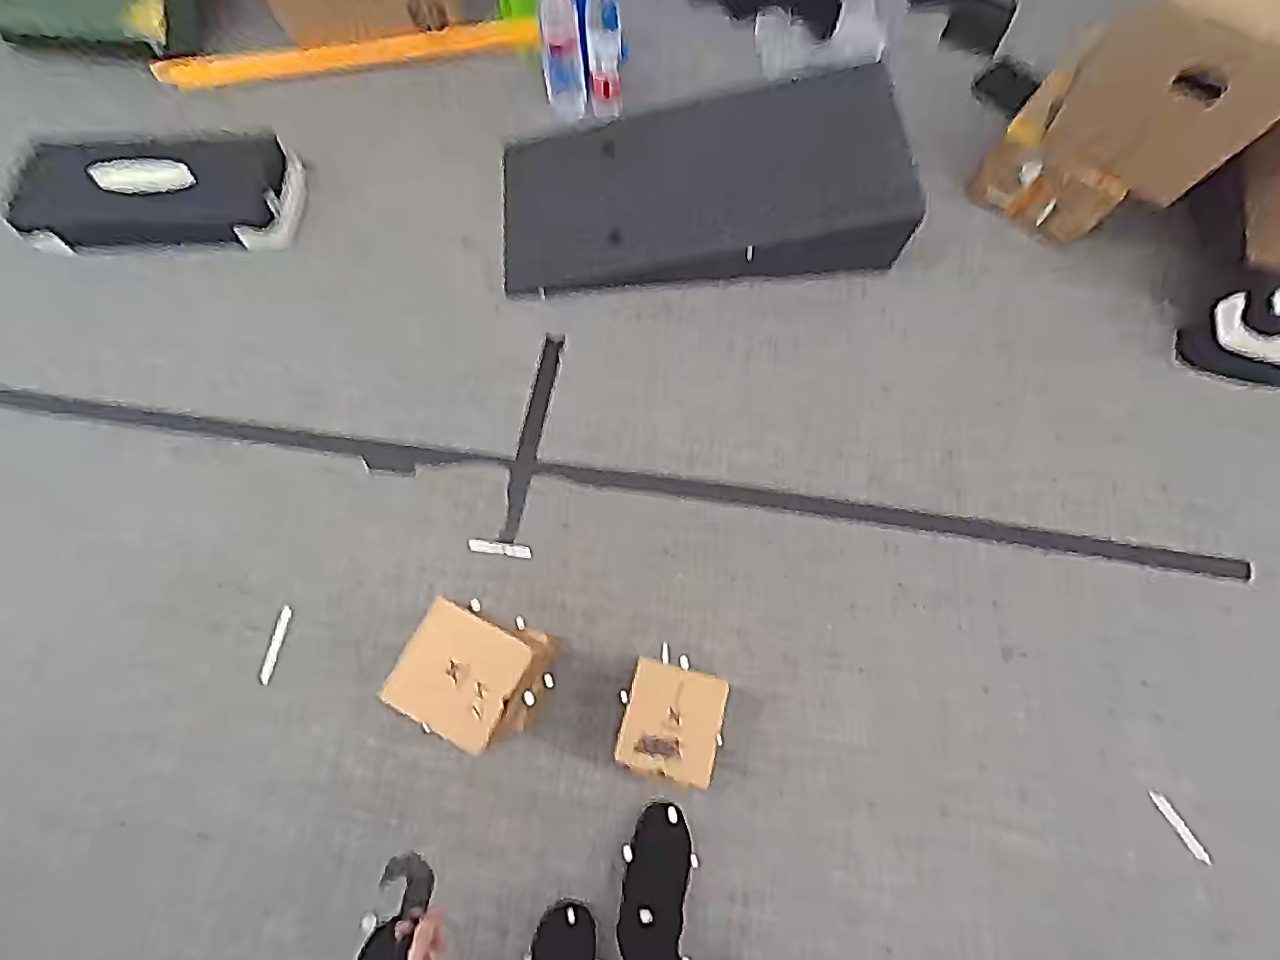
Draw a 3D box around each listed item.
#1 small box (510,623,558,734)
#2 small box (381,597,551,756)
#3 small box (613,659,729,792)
[{"bbox_3d":[-0.265,0.360,1.027,0.179,0.176,0.168,15,73,3],"label":"small box"},{"bbox_3d":[-0.265,0.308,0.869,0.179,0.176,0.168,27,76,8],"label":"small box"},{"bbox_3d":[0.056,0.442,1.003,0.168,0.176,0.179,16,73,4],"label":"small box"}]
